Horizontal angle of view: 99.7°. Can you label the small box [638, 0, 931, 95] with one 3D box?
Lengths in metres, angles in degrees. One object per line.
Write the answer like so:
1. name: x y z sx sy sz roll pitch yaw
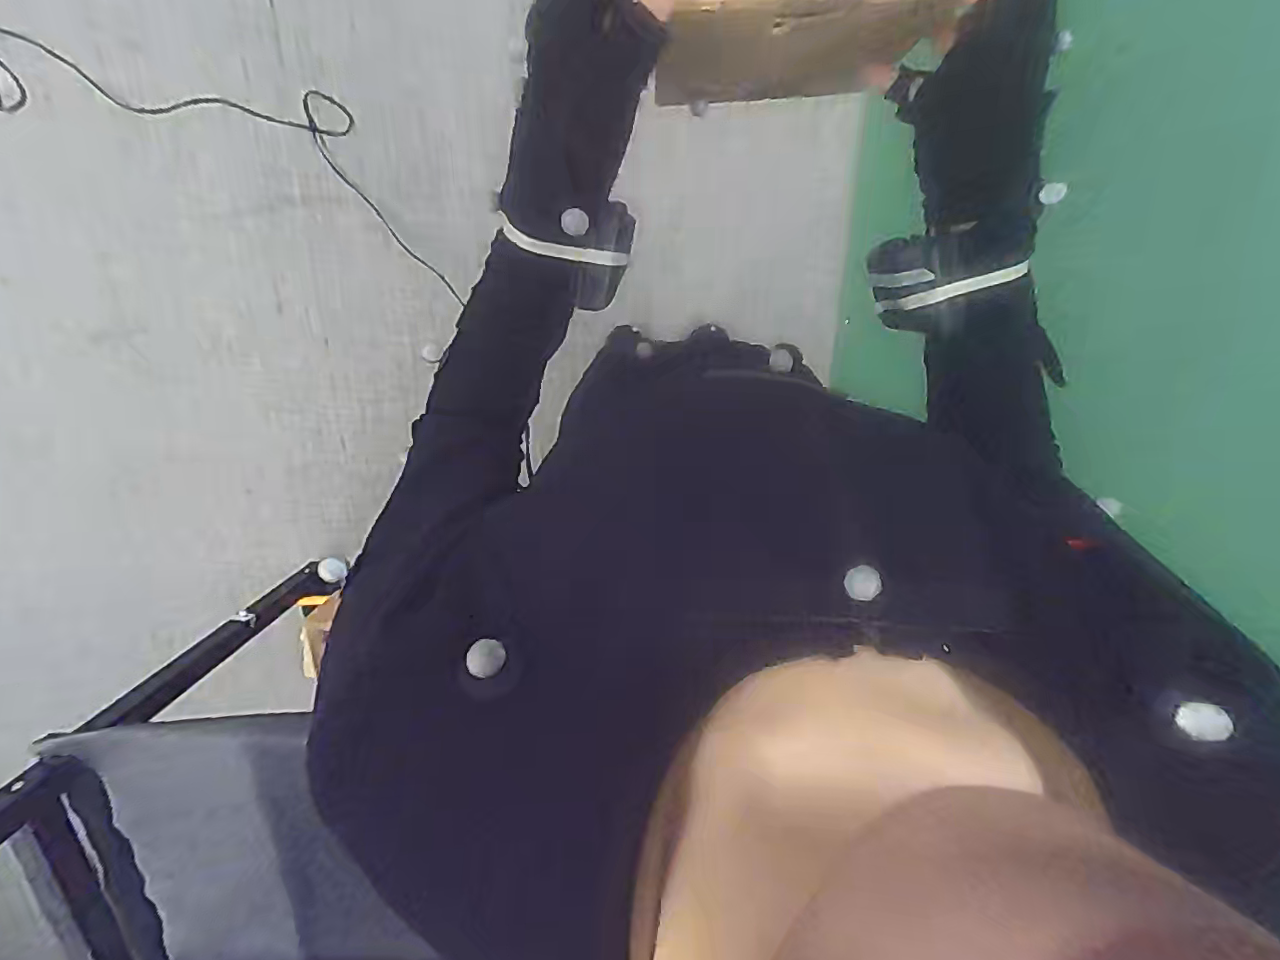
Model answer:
1. small box: 0.080 -0.353 0.321 0.168 0.176 0.179 -2 109 1
